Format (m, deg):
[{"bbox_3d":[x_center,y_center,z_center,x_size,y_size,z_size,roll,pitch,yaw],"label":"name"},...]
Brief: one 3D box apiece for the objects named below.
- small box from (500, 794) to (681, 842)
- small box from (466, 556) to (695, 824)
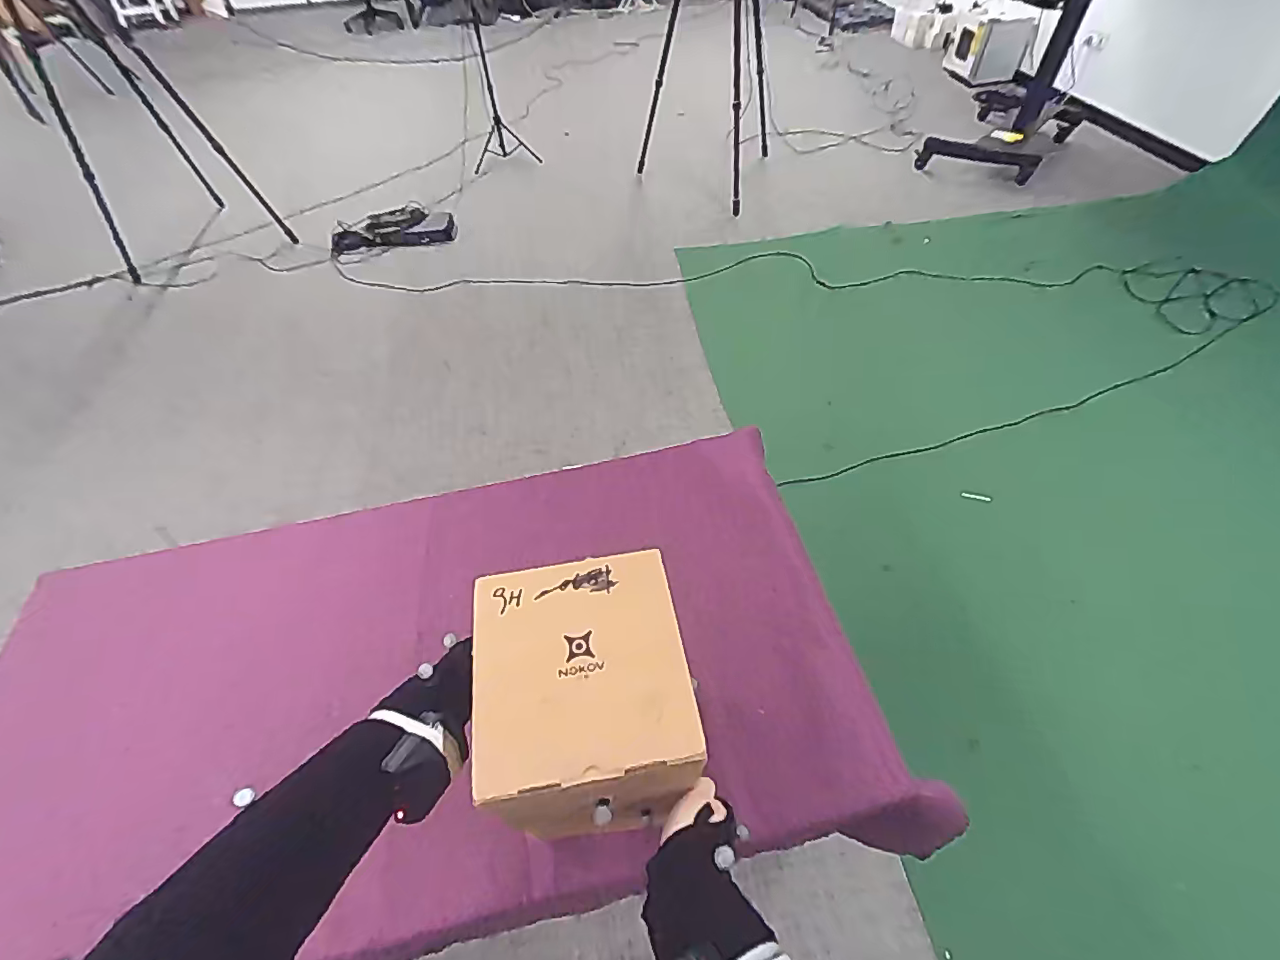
[{"bbox_3d":[-0.051,0.298,0.615,0.179,0.176,0.168,-5,51,-3],"label":"small box"},{"bbox_3d":[-0.050,0.195,0.488,0.168,0.176,0.179,-8,52,-5],"label":"small box"}]
